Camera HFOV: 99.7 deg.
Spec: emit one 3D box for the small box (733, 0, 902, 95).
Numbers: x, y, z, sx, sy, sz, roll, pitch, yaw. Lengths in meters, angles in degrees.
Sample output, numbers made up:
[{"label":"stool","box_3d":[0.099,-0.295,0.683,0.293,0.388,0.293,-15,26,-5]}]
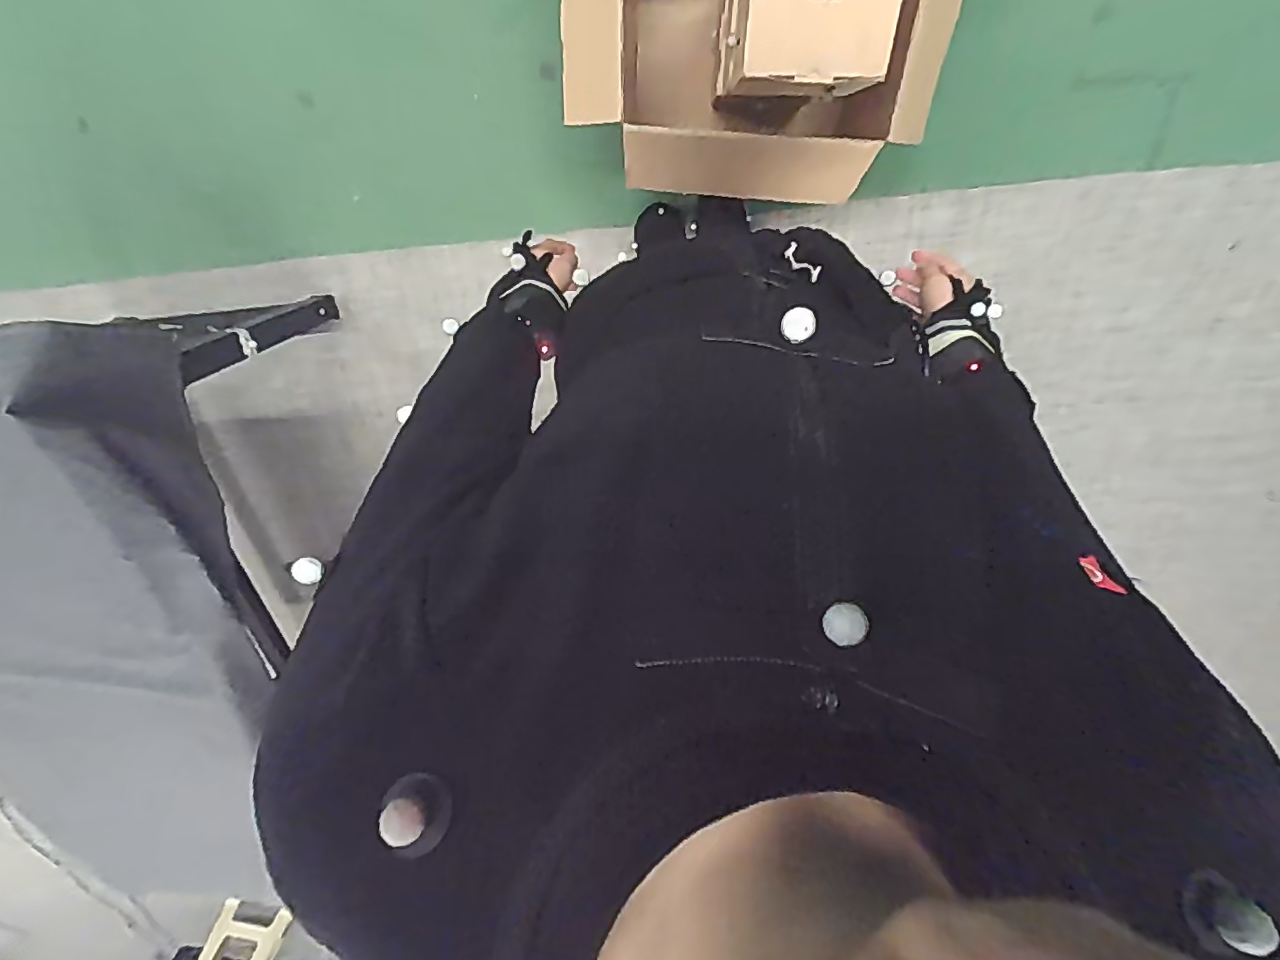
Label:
[{"label":"small box","box_3d":[0.205,-0.572,0.643,0.168,0.176,0.179,2,119,2]}]
